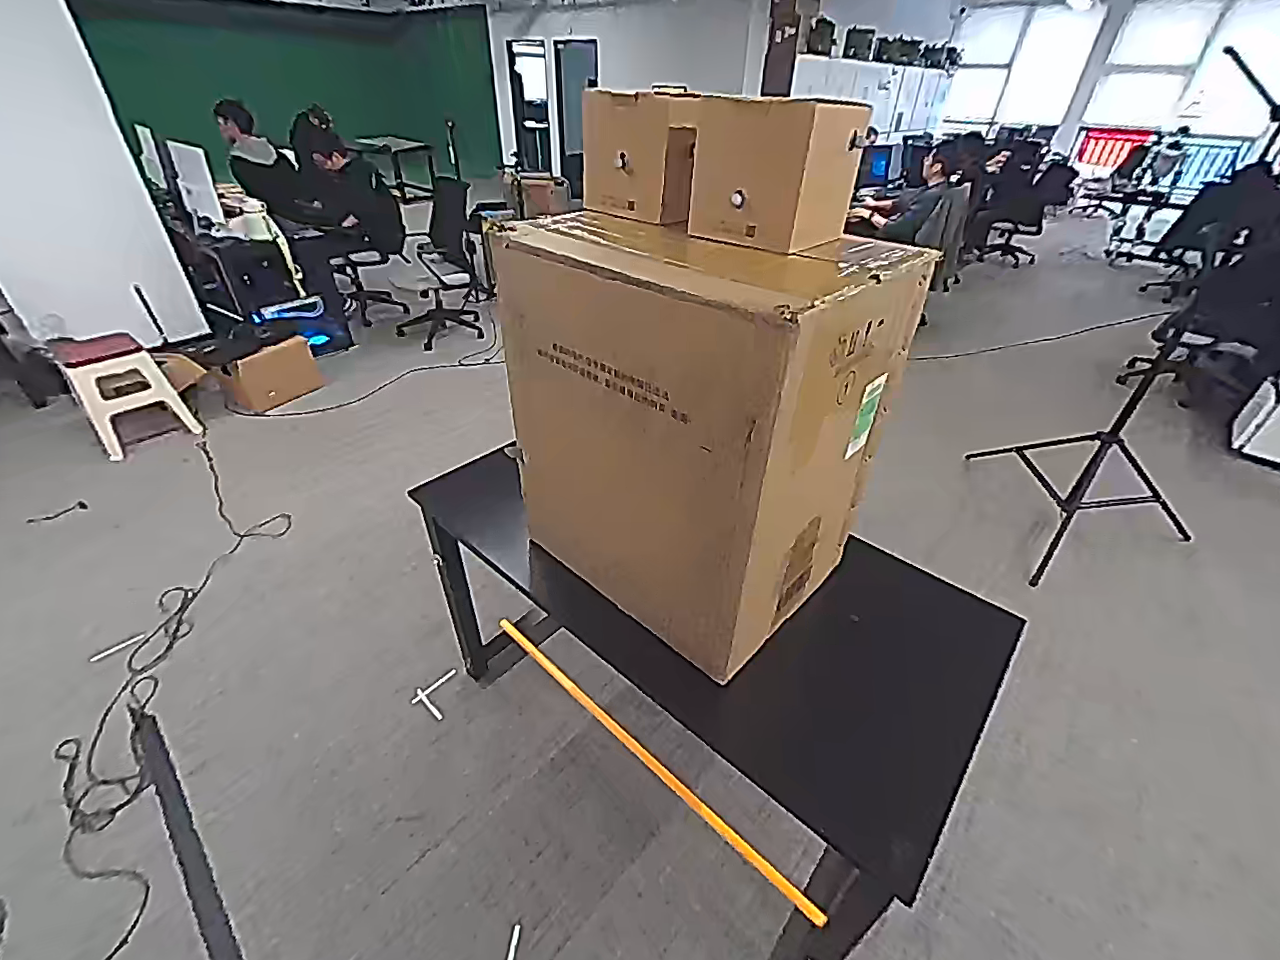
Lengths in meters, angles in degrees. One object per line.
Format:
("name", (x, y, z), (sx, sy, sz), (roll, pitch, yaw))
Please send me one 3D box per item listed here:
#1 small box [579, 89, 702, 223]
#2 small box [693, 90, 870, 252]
("small box", (0.022, -0.523, 0.872), (0.168, 0.176, 0.179), (27, 42, 28))
("small box", (0.186, -0.427, 0.746), (0.168, 0.176, 0.179), (27, 41, 31))
